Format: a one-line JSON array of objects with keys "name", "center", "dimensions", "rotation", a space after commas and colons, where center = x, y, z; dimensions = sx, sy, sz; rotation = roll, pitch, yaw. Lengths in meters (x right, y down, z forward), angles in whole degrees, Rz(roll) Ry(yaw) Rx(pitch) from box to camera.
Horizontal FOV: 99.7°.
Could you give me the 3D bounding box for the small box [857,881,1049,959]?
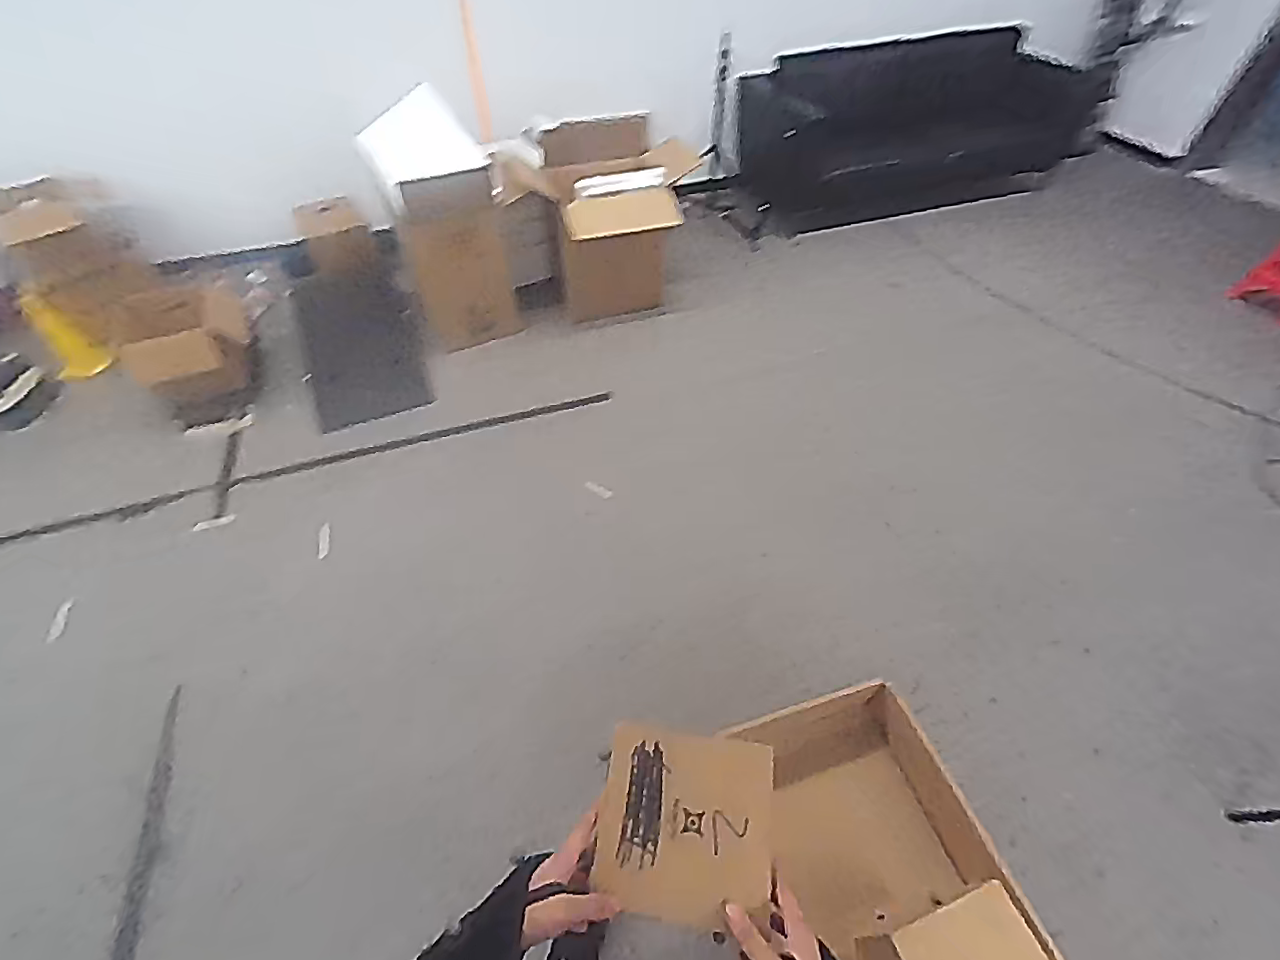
[{"name": "small box", "center": [0.423, 0.663, 0.714], "dimensions": [0.179, 0.176, 0.168], "rotation": [-15, 50, -12]}]
